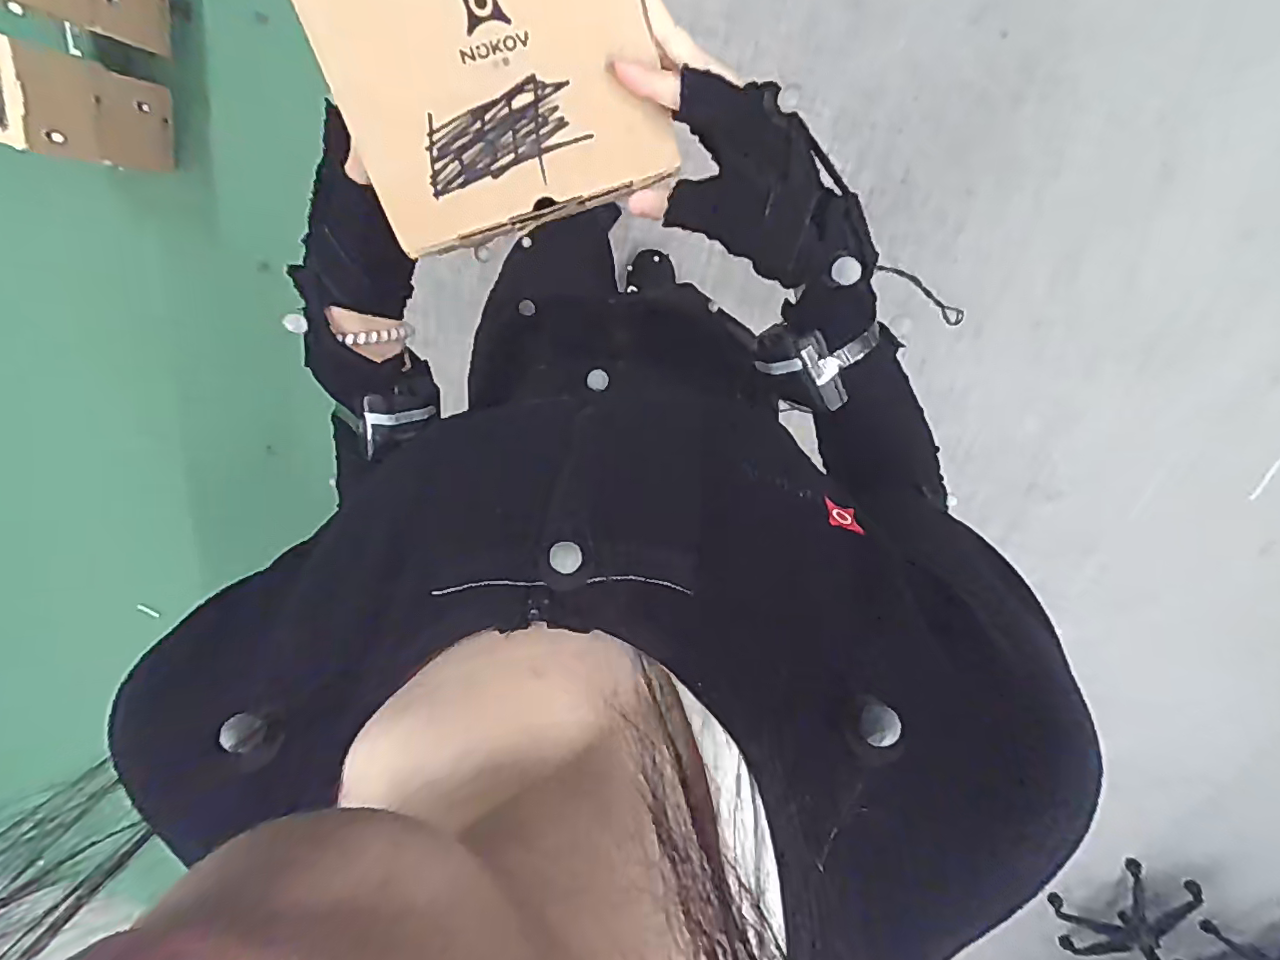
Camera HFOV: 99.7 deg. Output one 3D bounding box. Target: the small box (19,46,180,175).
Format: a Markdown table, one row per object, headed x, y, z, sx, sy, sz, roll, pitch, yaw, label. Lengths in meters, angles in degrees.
| x | y | z | sx | sy | sz | roll | pitch | yaw | label |
| --- | --- | --- | --- | --- | --- | --- | --- | --- | --- |
| -1.106 | -0.755 | 1.126 | 0.179 | 0.176 | 0.168 | 17 | 114 | -8 | small box |
